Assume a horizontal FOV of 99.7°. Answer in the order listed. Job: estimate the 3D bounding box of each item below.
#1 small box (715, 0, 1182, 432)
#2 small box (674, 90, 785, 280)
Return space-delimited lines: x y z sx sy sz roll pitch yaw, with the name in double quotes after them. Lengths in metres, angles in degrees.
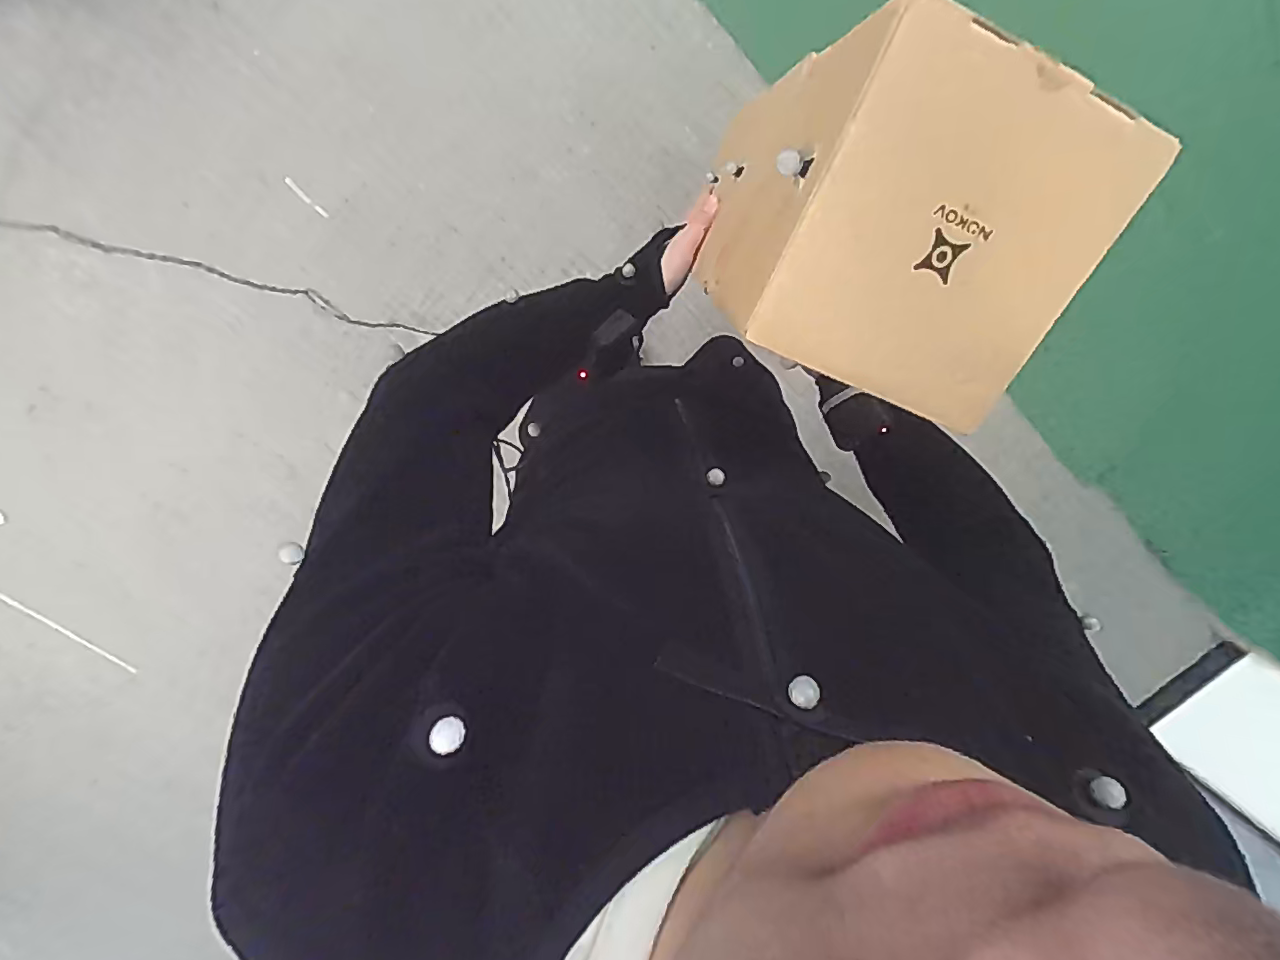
0.160 -0.161 0.357 0.168 0.176 0.179 19 114 -11 "small box"
0.148 -0.316 0.644 0.168 0.176 0.179 20 115 -11 "small box"
